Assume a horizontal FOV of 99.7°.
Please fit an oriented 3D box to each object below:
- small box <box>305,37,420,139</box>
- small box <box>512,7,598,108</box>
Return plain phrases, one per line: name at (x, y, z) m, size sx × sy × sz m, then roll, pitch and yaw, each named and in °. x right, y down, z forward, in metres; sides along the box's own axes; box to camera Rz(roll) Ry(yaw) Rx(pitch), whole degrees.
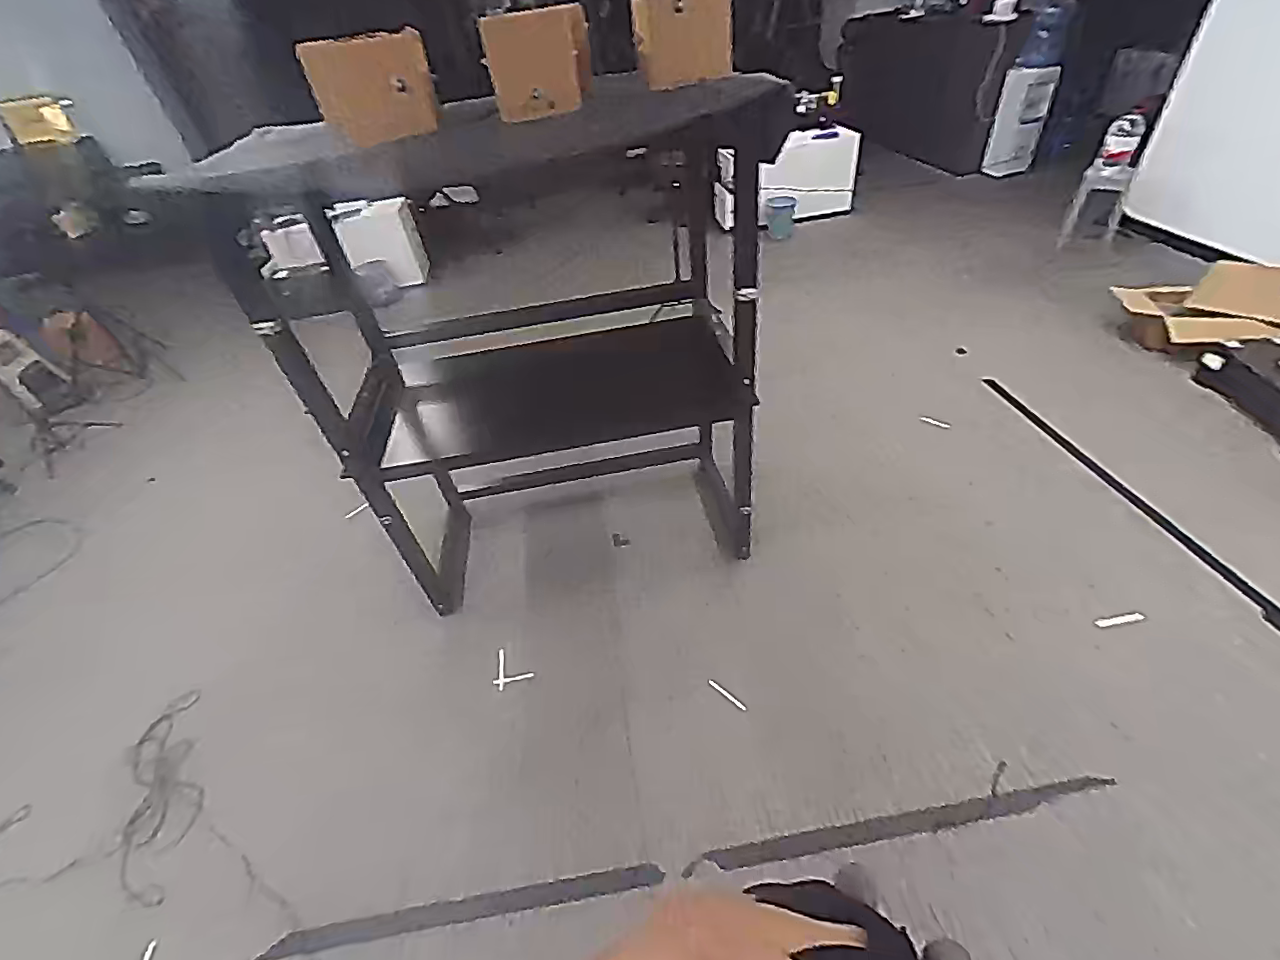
small box at (-0.635, -0.914, 1.265) m, size 0.168 × 0.176 × 0.179 m, roll -10°, pitch 41°, yaw -2°
small box at (-0.196, -0.998, 1.282) m, size 0.168 × 0.176 × 0.179 m, roll -10°, pitch 41°, yaw 0°
